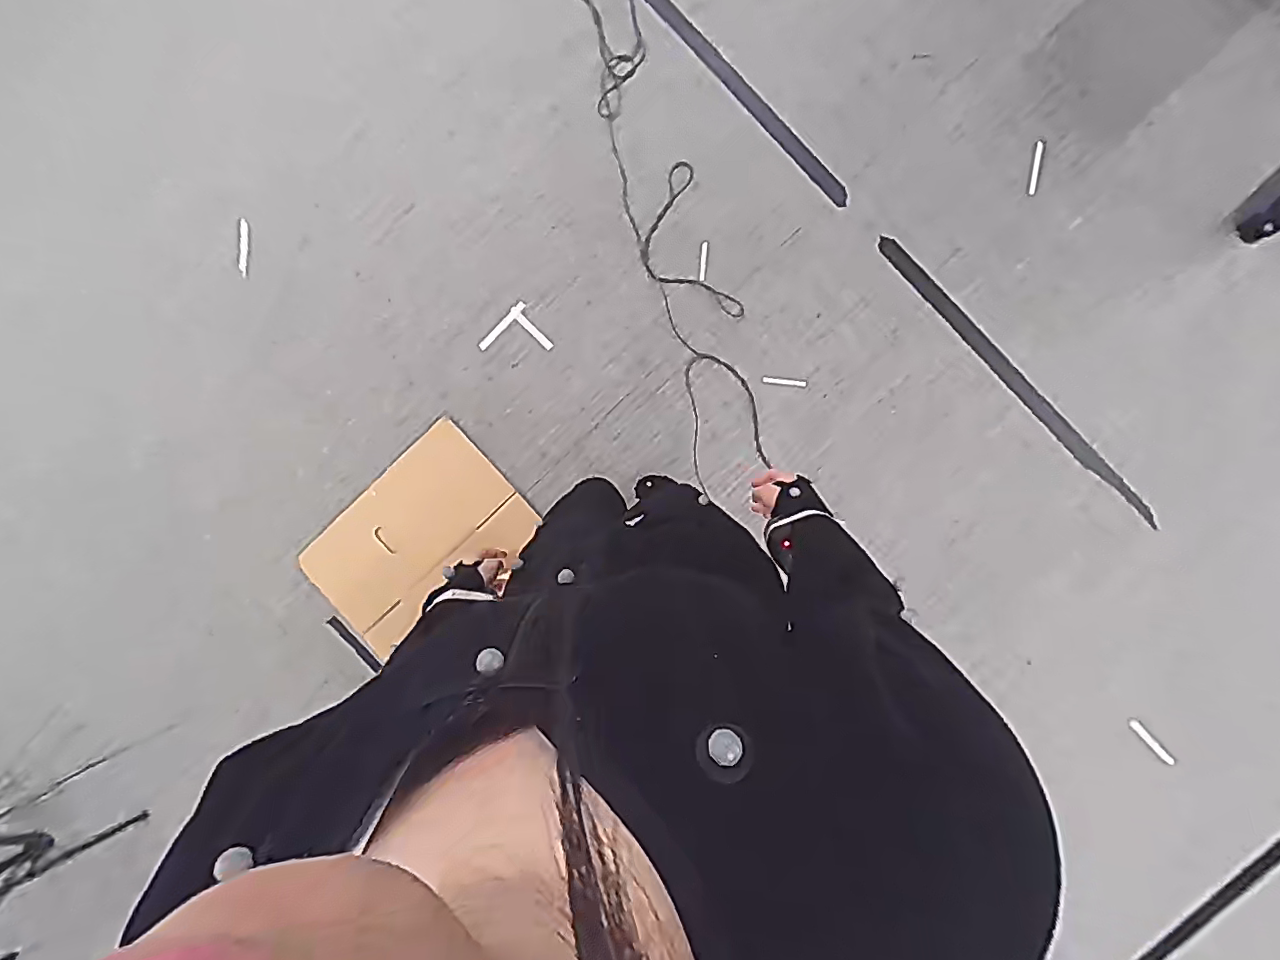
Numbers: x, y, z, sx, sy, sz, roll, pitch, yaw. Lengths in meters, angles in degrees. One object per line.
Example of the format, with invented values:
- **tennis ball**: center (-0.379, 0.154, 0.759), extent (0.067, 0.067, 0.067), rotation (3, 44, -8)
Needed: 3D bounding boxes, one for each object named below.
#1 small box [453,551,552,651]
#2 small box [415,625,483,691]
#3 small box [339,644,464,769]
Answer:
- **small box**: center (-0.350, 0.307, 1.421), extent (0.168, 0.176, 0.179), rotation (44, 93, 2)
- **small box**: center (-0.542, 0.514, 1.433), extent (0.168, 0.176, 0.179), rotation (40, 92, 2)
- **small box**: center (-0.548, 0.521, 1.268), extent (0.168, 0.176, 0.179), rotation (41, 92, 1)
